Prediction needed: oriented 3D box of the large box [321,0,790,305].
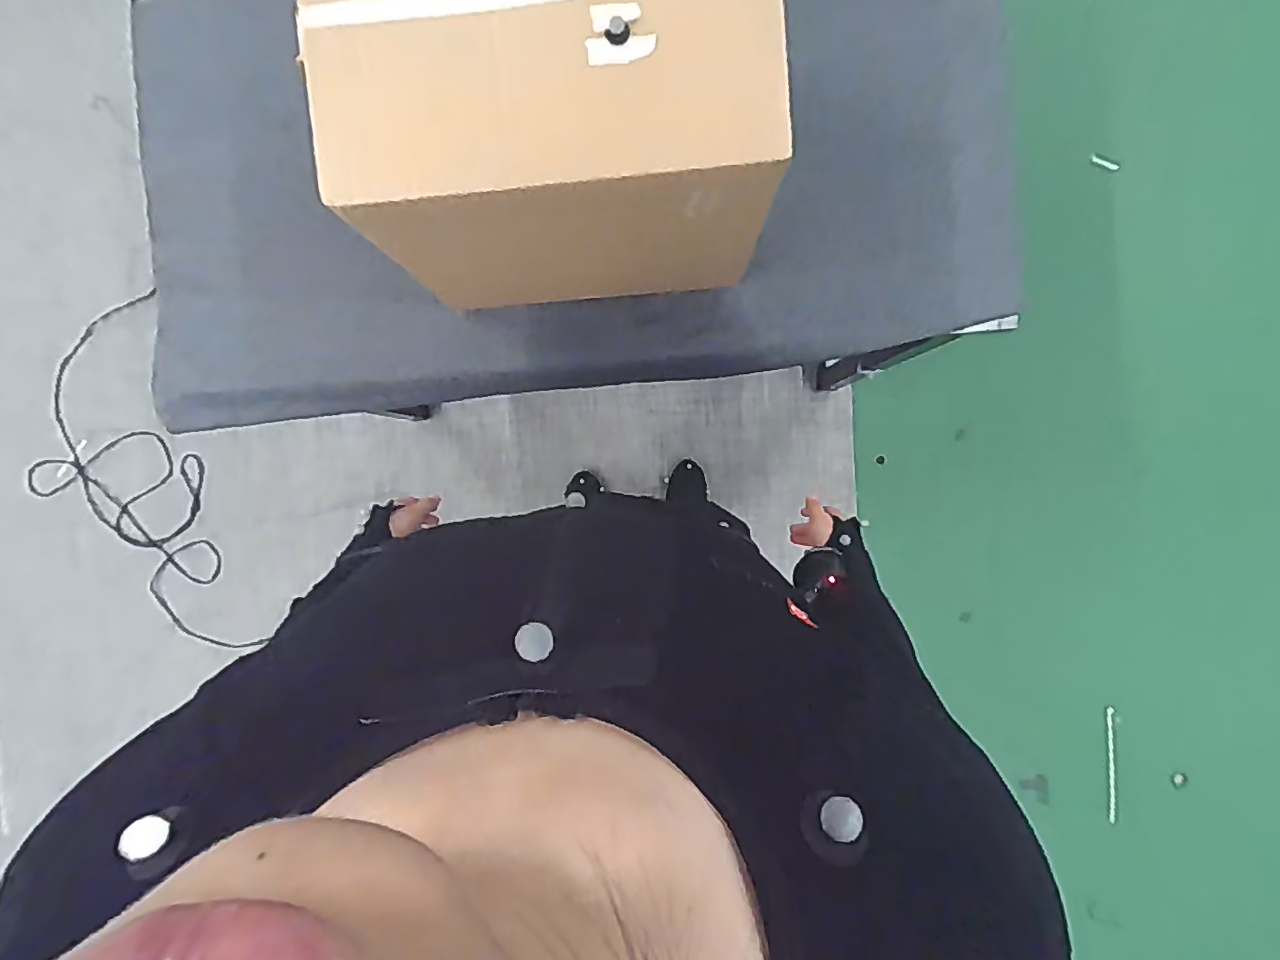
[{"bbox_3d":[-0.078,-0.416,0.617,0.408,0.320,0.320,-5,92,2],"label":"large box"}]
